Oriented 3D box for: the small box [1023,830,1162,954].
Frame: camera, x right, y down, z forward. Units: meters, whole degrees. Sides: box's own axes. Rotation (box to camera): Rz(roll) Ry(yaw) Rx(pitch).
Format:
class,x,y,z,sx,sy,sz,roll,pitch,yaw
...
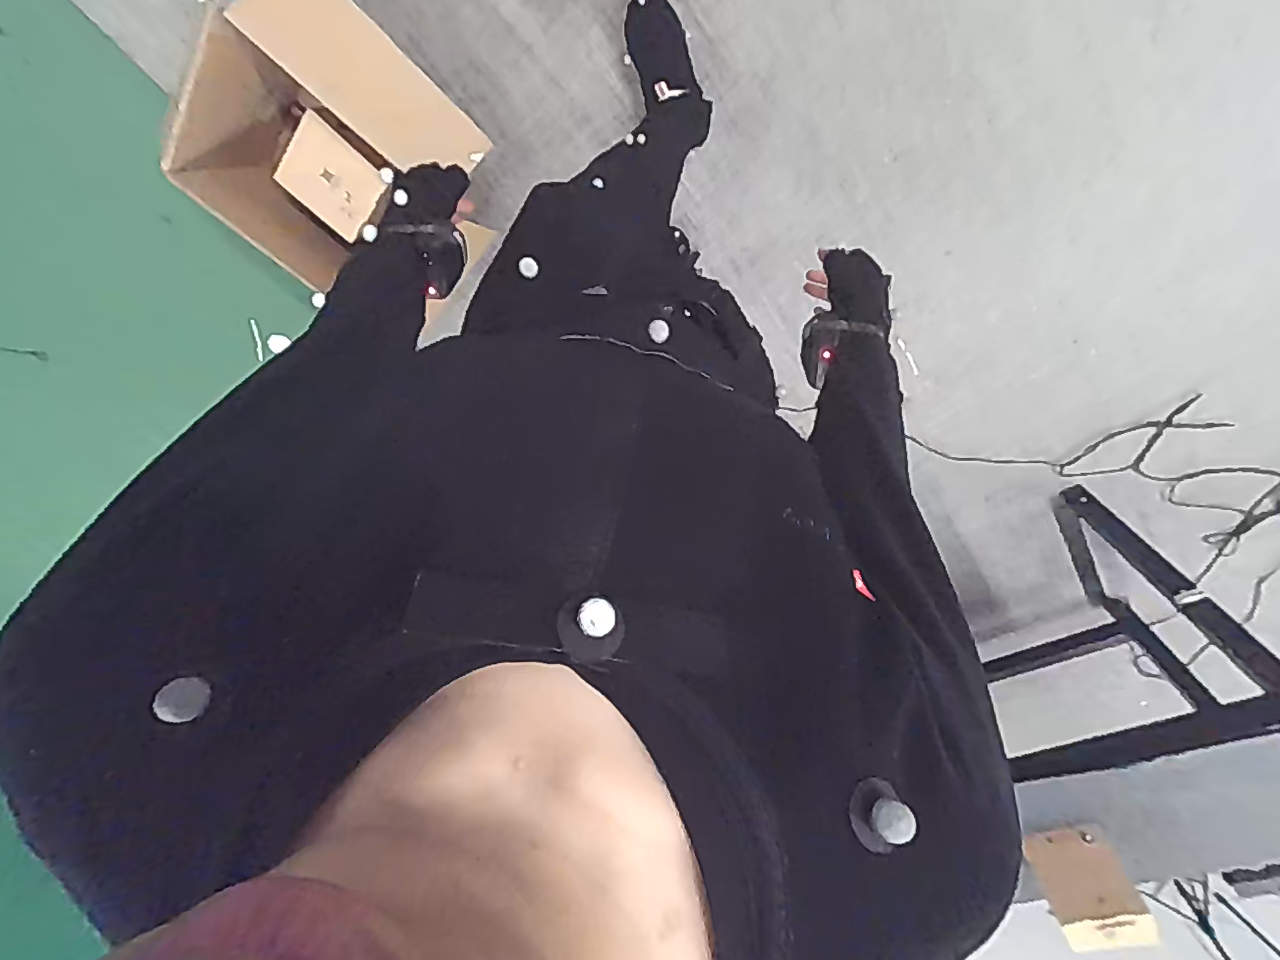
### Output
class,x,y,z,sx,sy,sz,roll,pitch,yaw
small box,0.973,0.888,1.175,0.168,0.176,0.179,-26,119,20
